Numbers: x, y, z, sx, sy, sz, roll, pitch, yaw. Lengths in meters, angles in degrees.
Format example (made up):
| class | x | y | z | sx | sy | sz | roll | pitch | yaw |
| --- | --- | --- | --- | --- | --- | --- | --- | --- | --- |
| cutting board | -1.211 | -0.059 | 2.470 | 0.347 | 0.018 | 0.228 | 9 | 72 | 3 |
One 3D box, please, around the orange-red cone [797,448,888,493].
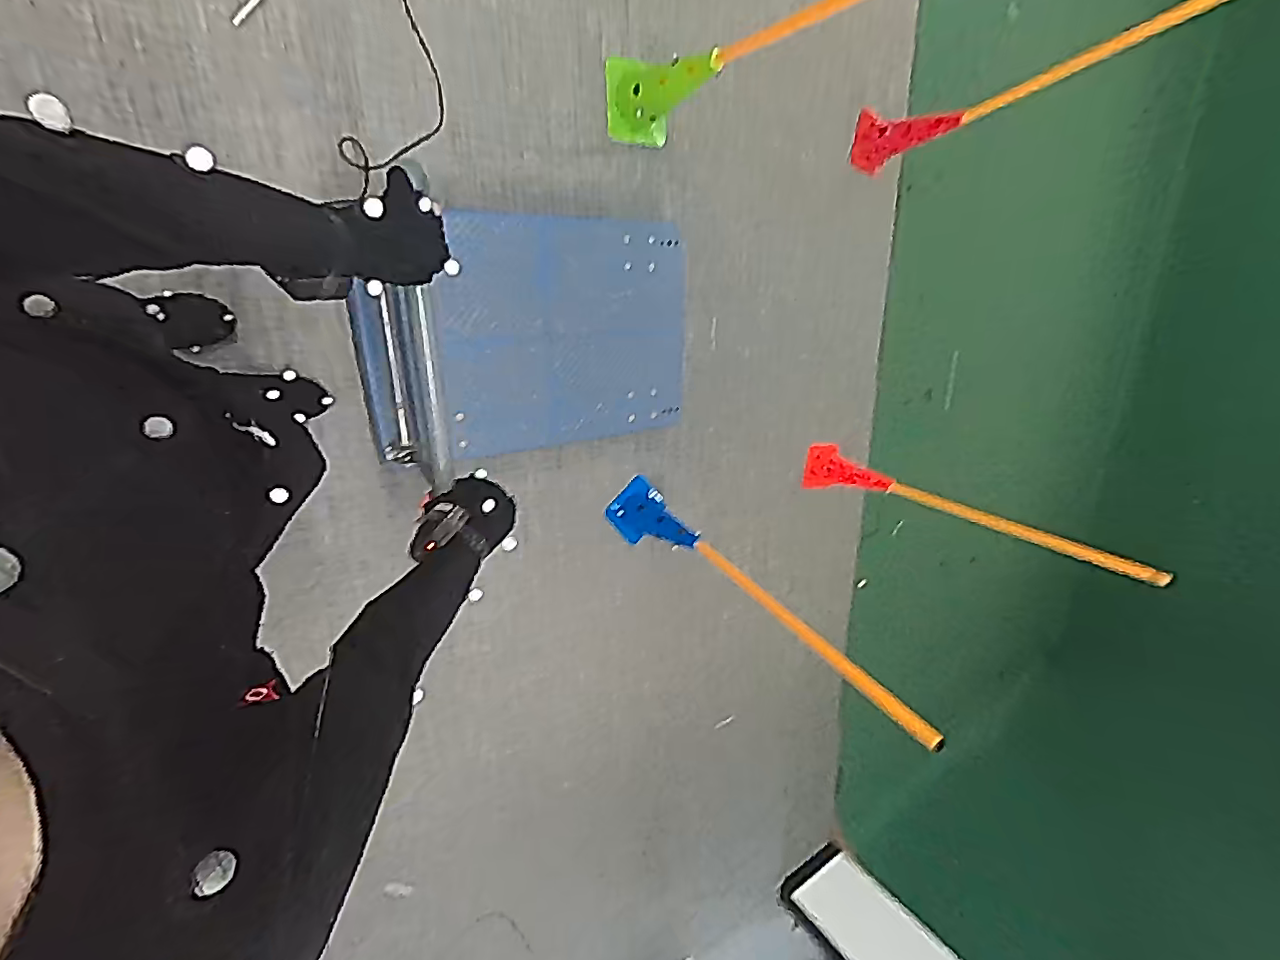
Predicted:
| class | x | y | z | sx | sy | sz | roll | pitch | yaw |
| --- | --- | --- | --- | --- | --- | --- | --- | --- | --- |
| orange-red cone | 0.877 | -0.004 | 2.292 | 0.199 | 0.360 | 0.198 | 1 | 103 | -34 |
